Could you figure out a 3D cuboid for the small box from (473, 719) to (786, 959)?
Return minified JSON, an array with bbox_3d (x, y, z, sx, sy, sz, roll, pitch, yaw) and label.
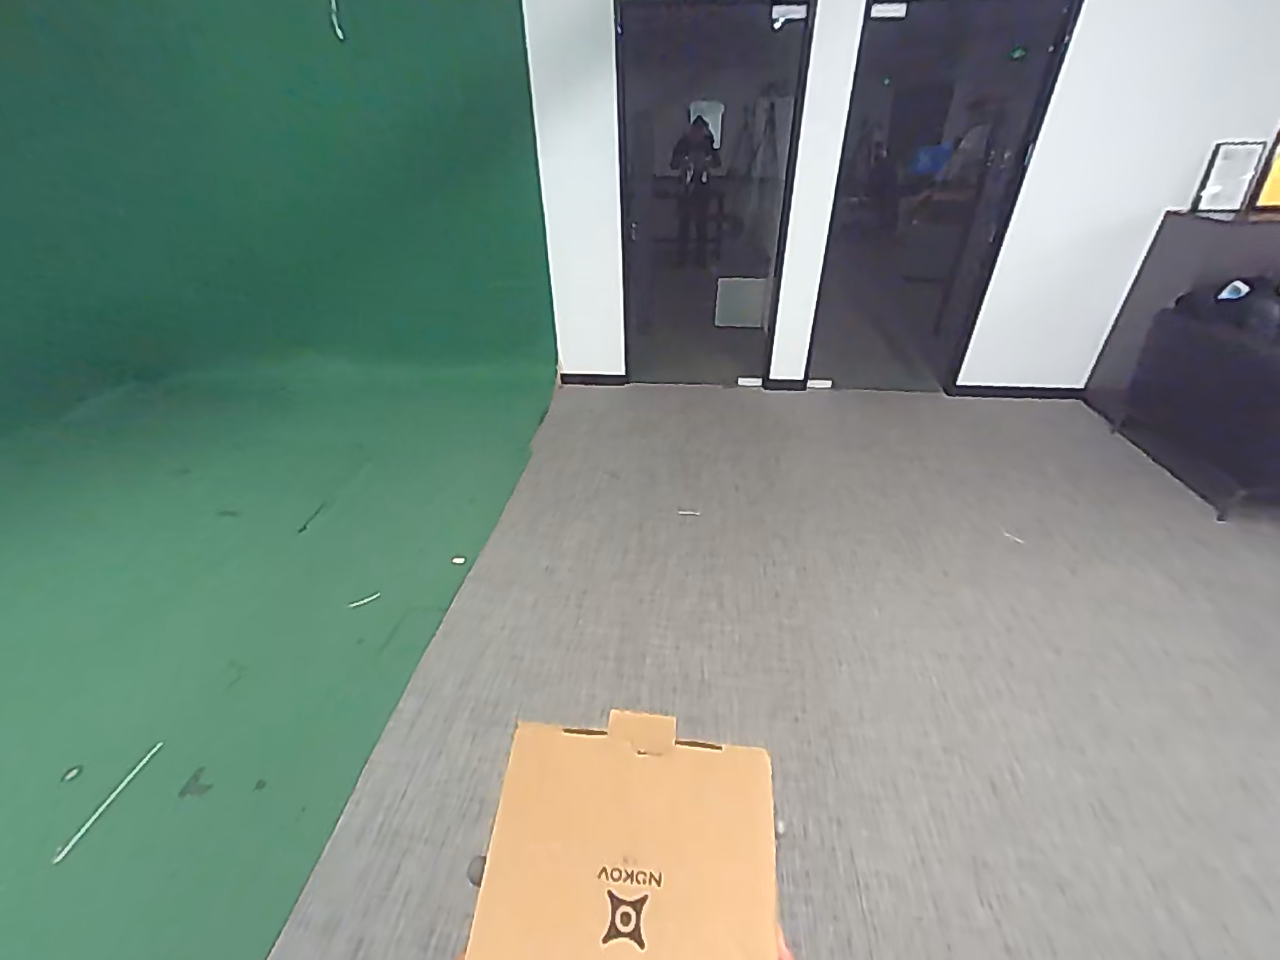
[{"bbox_3d":[-0.003,0.279,0.359,0.168,0.176,0.179,5,51,2],"label":"small box"}]
